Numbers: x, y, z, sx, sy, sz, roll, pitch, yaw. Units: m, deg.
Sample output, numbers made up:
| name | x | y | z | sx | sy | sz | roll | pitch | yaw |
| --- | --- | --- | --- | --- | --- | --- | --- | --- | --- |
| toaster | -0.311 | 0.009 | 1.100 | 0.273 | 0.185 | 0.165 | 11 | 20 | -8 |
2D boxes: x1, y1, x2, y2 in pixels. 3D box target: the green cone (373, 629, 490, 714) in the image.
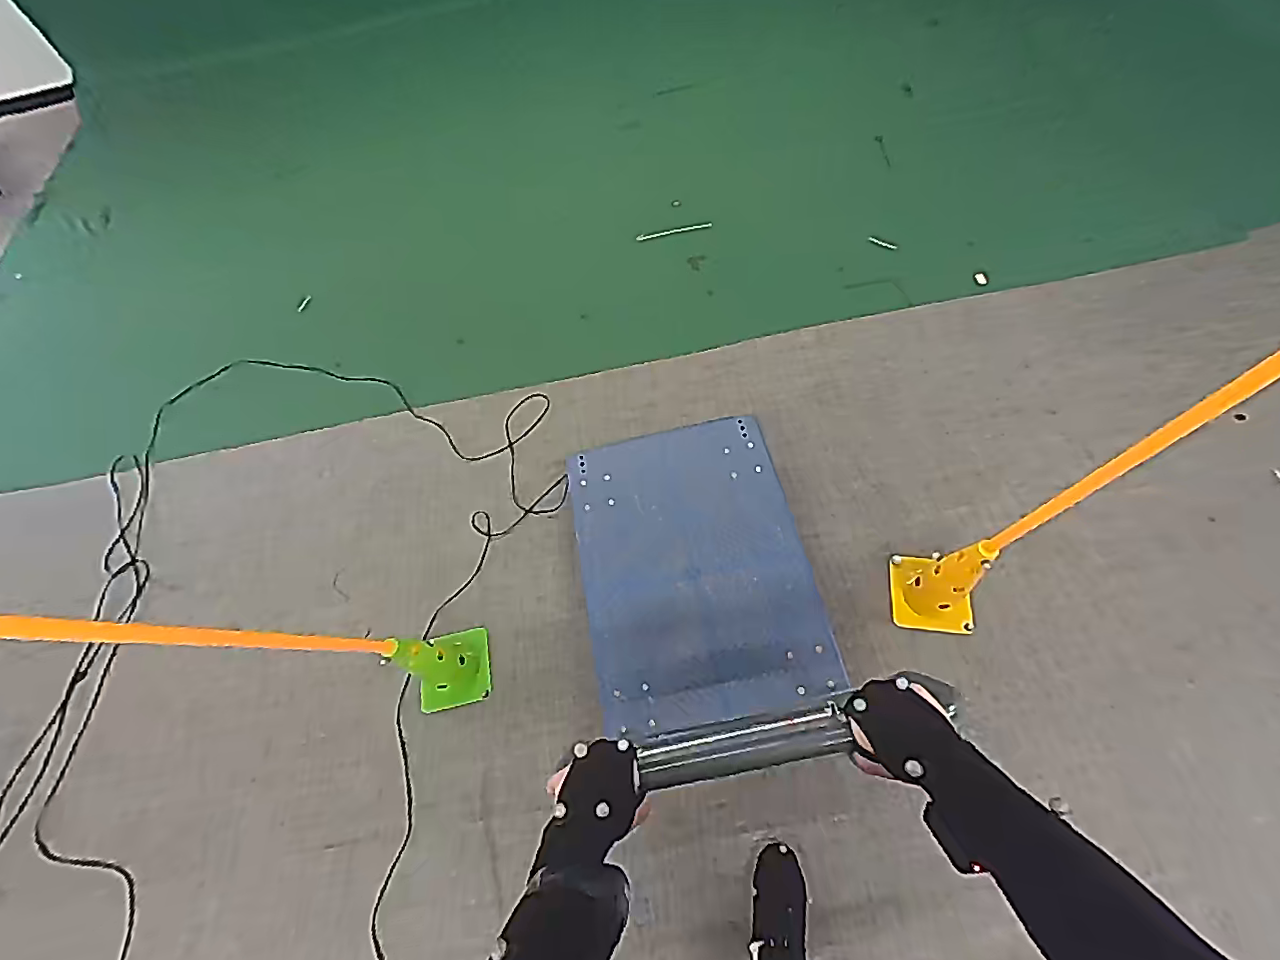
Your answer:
| name | x | y | z | sx | sy | sz | roll | pitch | yaw |
| --- | --- | --- | --- | --- | --- | --- | --- | --- | --- |
| green cone | -0.551 | 0.459 | 1.375 | 0.202 | 0.368 | 0.200 | -15 | 61 | 2 |
